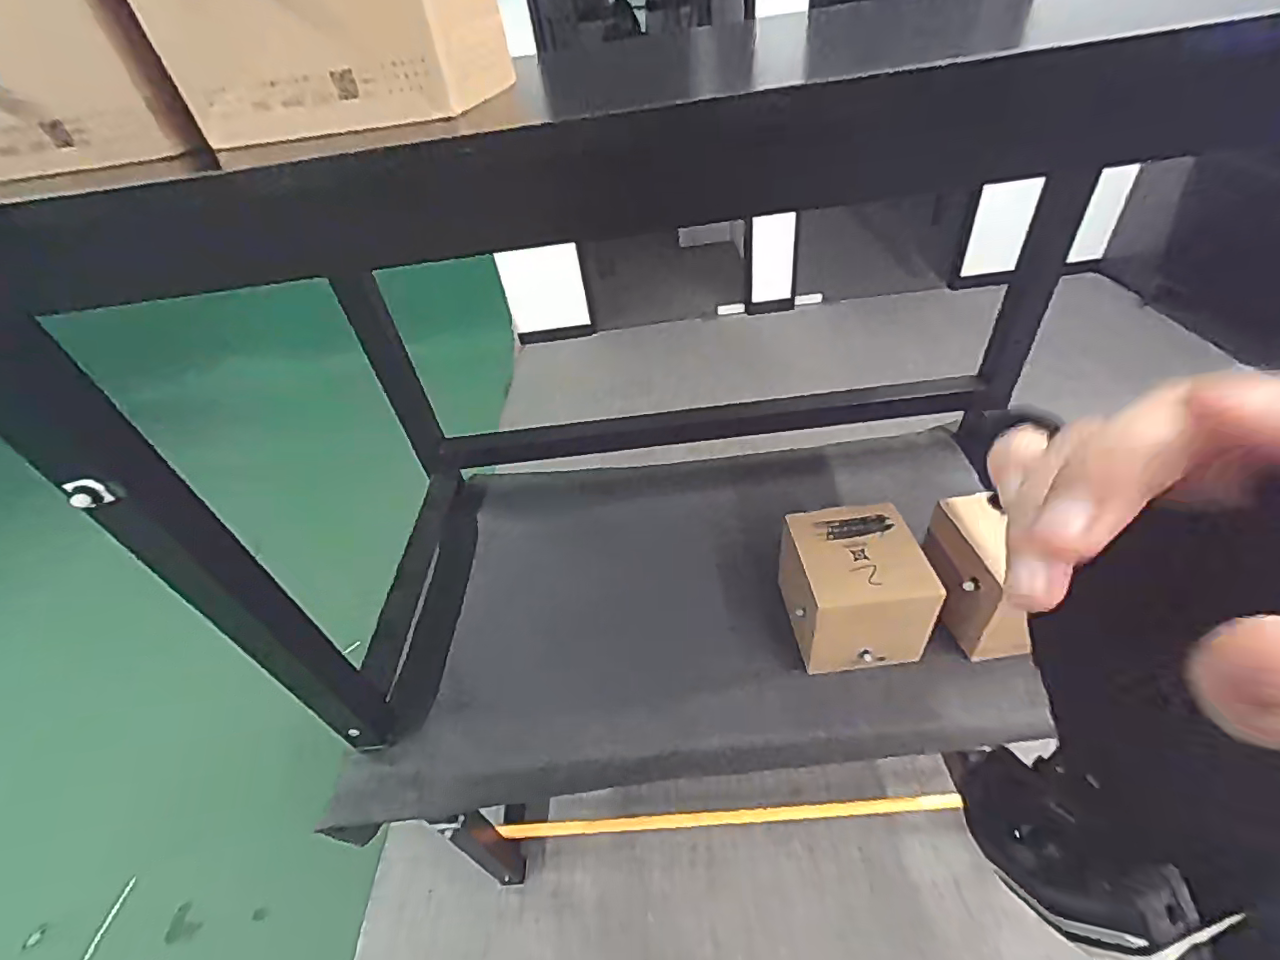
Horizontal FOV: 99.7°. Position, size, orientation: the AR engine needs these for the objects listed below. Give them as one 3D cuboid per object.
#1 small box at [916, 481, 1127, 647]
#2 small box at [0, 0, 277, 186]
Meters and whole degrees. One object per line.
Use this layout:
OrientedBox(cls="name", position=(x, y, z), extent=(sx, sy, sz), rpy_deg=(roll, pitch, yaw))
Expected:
OrientedBox(cls="small box", position=(0.540, 0.130, 0.799), extent=(0.168, 0.176, 0.179), rpy_deg=(-9, 41, 0))
OrientedBox(cls="small box", position=(-0.386, -0.309, 0.357), extent=(0.168, 0.176, 0.179), rpy_deg=(-7, 43, 2))
